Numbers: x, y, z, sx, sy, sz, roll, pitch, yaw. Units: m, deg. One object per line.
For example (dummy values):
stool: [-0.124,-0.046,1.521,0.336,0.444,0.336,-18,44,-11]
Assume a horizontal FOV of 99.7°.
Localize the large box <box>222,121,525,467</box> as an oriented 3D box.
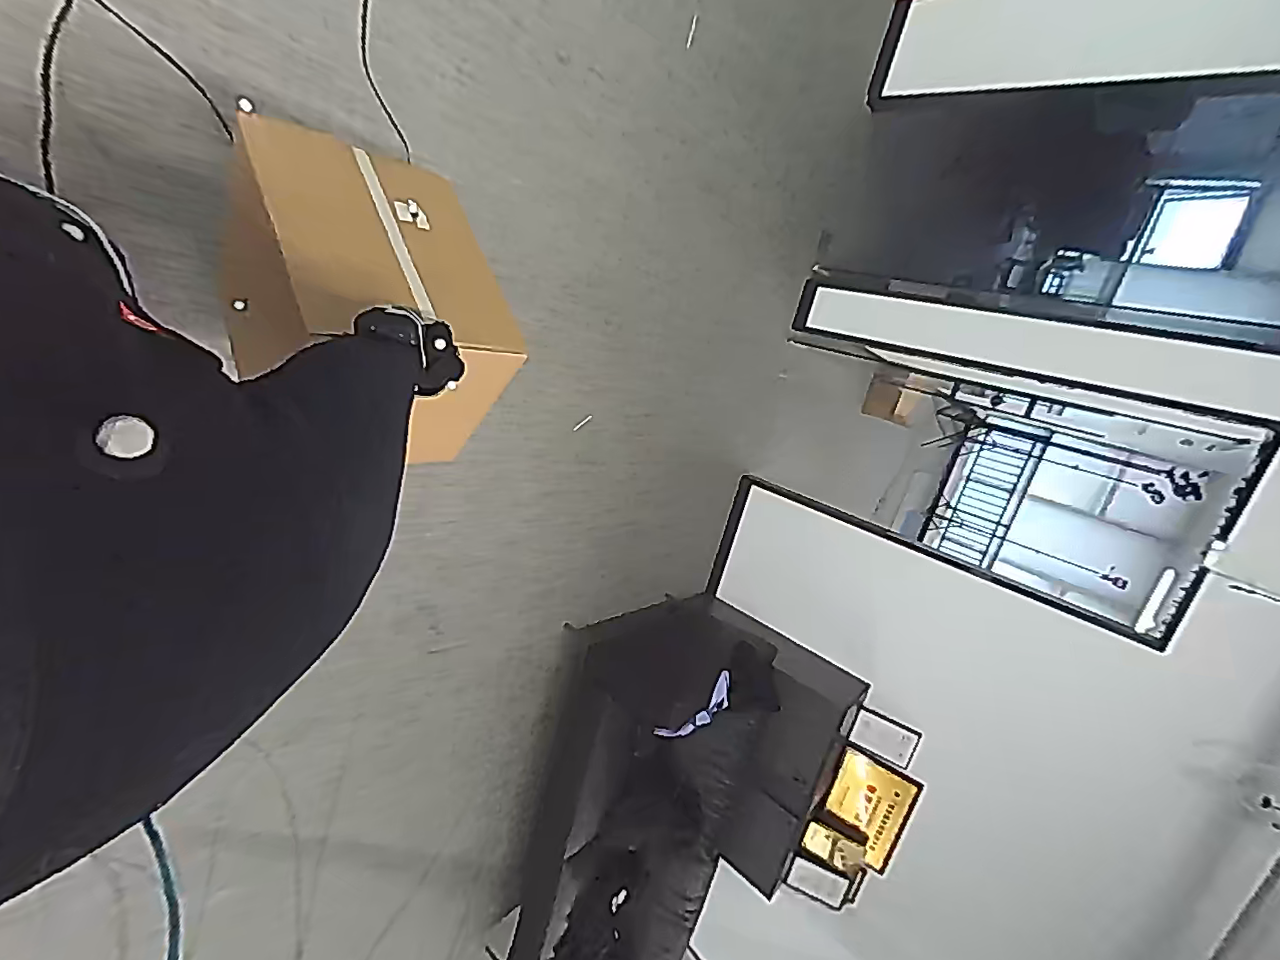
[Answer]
large box: [-0.459,-0.276,0.905,0.320,0.408,0.320,-7,154,-47]
